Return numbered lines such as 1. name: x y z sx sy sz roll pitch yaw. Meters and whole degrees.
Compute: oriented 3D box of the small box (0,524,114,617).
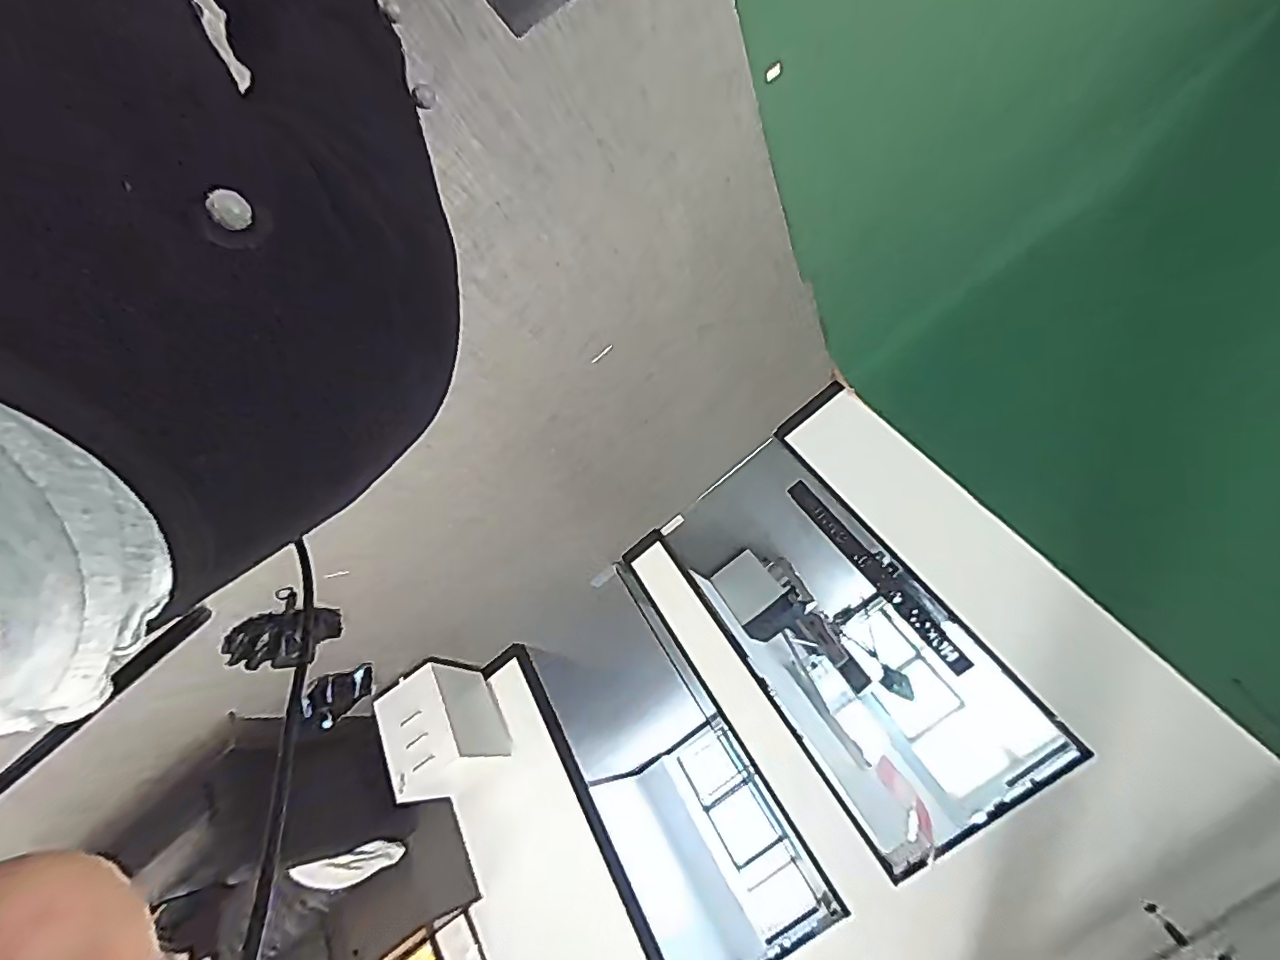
1. small box: -1.594 0.246 1.478 0.179 0.176 0.168 -42 148 8
